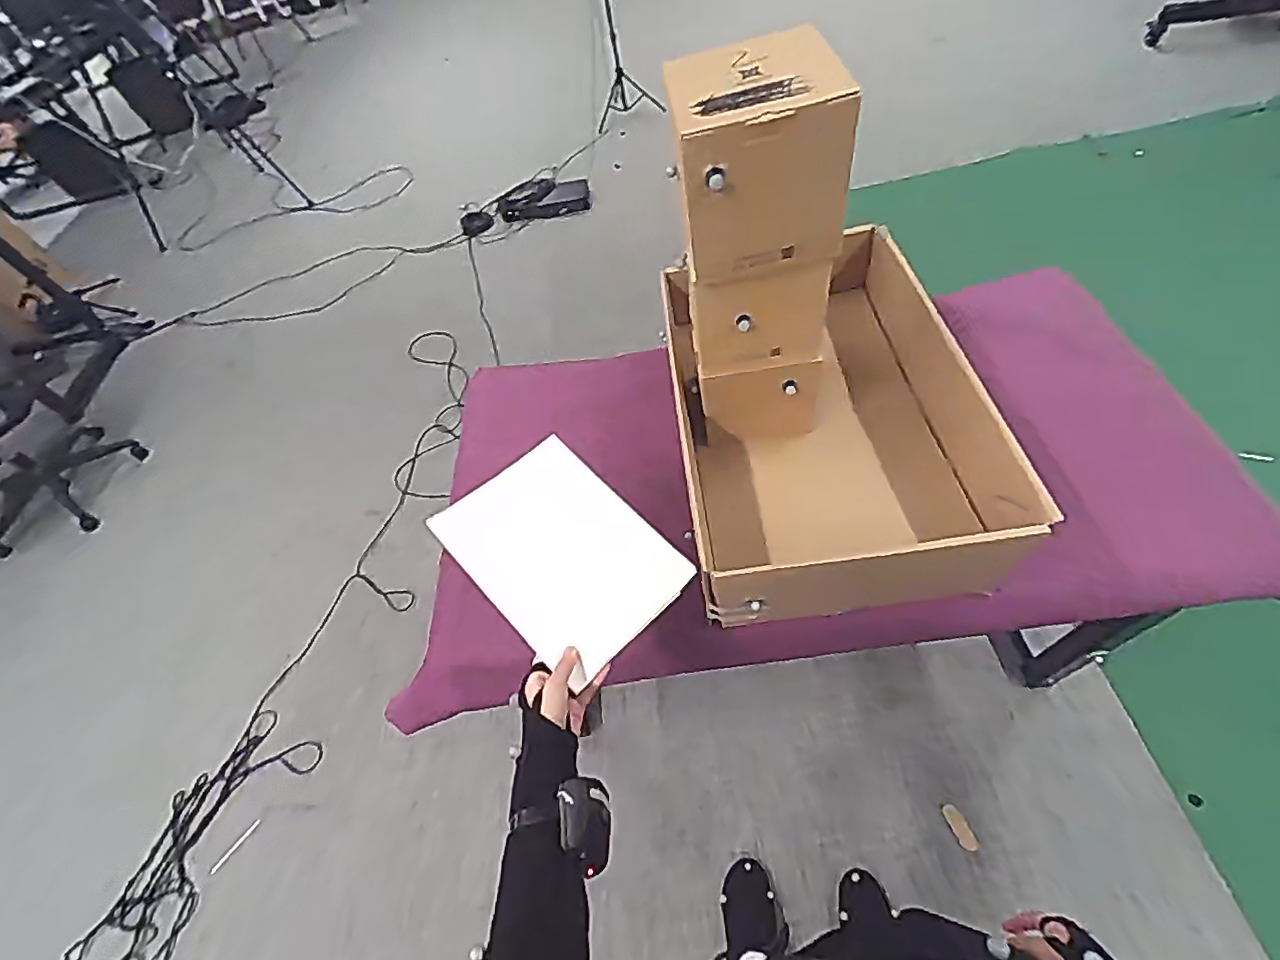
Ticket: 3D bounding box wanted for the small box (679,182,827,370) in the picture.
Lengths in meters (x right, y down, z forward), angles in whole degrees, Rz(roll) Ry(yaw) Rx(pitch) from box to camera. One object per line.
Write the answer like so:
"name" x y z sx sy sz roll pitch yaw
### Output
"small box" 0.151 -0.269 0.745 0.168 0.176 0.179 -8 55 7
